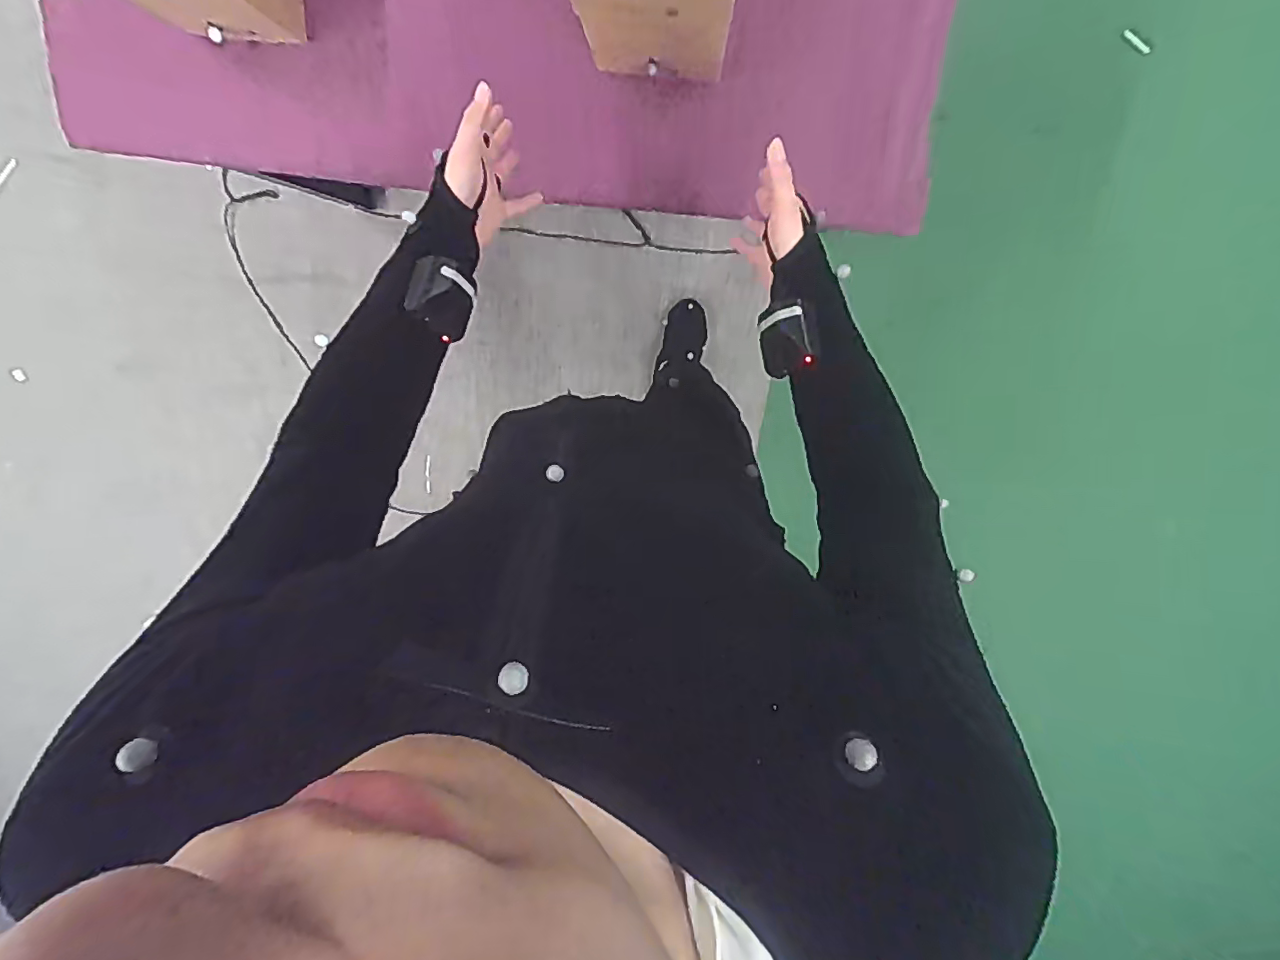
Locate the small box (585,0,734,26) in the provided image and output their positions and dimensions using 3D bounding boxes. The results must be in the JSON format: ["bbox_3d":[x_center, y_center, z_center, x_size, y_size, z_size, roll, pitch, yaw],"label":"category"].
[{"bbox_3d":[0.015,-0.528,0.455,0.168,0.176,0.179,7,108,1],"label":"small box"}]

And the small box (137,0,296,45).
[{"bbox_3d":[-0.532,-0.650,0.621,0.168,0.176,0.179,7,108,1],"label":"small box"}]
